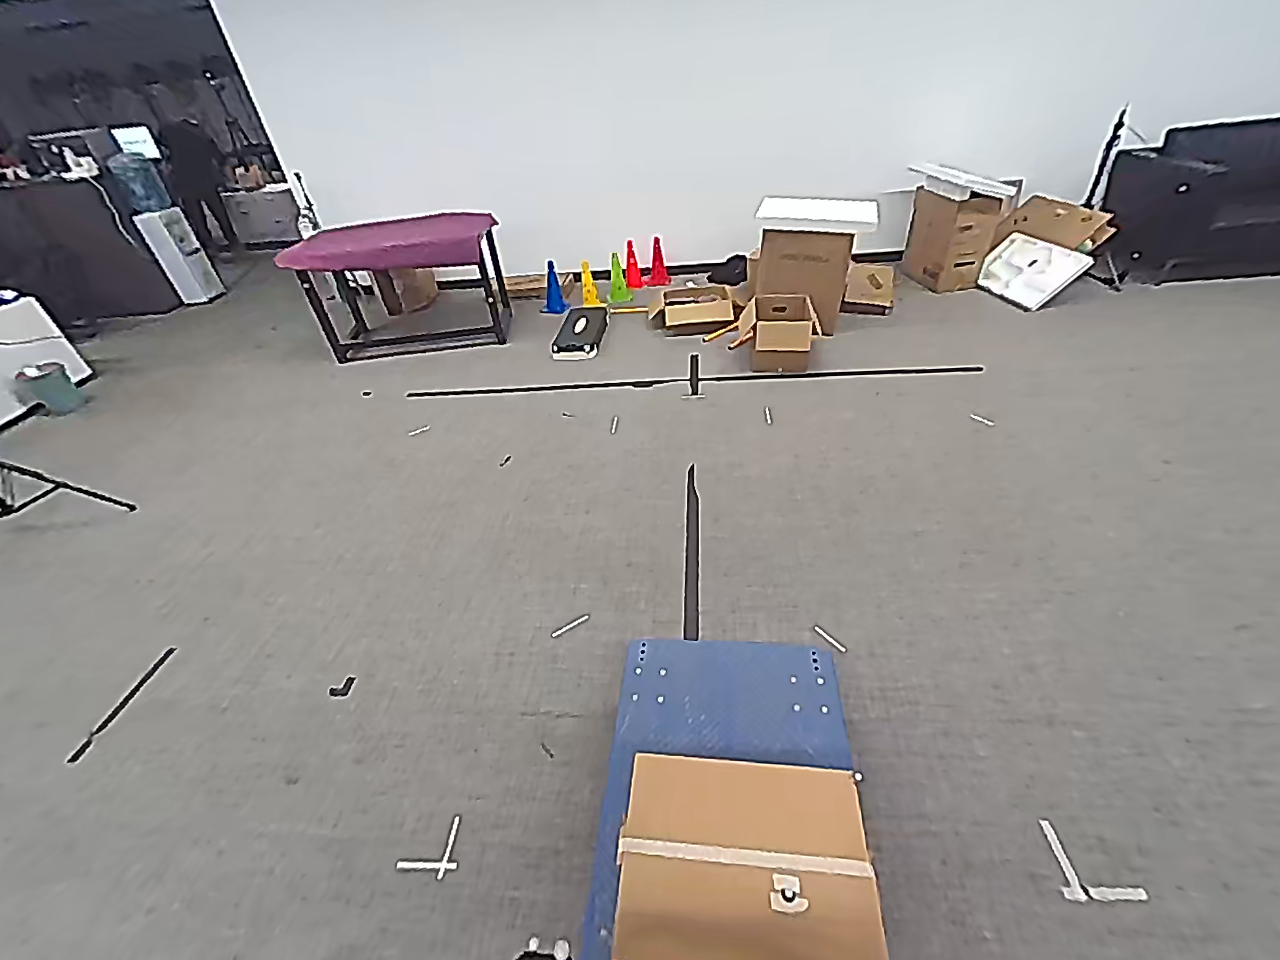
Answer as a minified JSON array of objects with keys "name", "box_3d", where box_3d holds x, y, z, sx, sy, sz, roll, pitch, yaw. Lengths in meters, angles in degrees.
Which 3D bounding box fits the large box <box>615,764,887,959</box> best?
[{"name":"large box","box_3d":[0.179,0.751,0.972,0.408,0.320,0.320,1,39,7]}]
